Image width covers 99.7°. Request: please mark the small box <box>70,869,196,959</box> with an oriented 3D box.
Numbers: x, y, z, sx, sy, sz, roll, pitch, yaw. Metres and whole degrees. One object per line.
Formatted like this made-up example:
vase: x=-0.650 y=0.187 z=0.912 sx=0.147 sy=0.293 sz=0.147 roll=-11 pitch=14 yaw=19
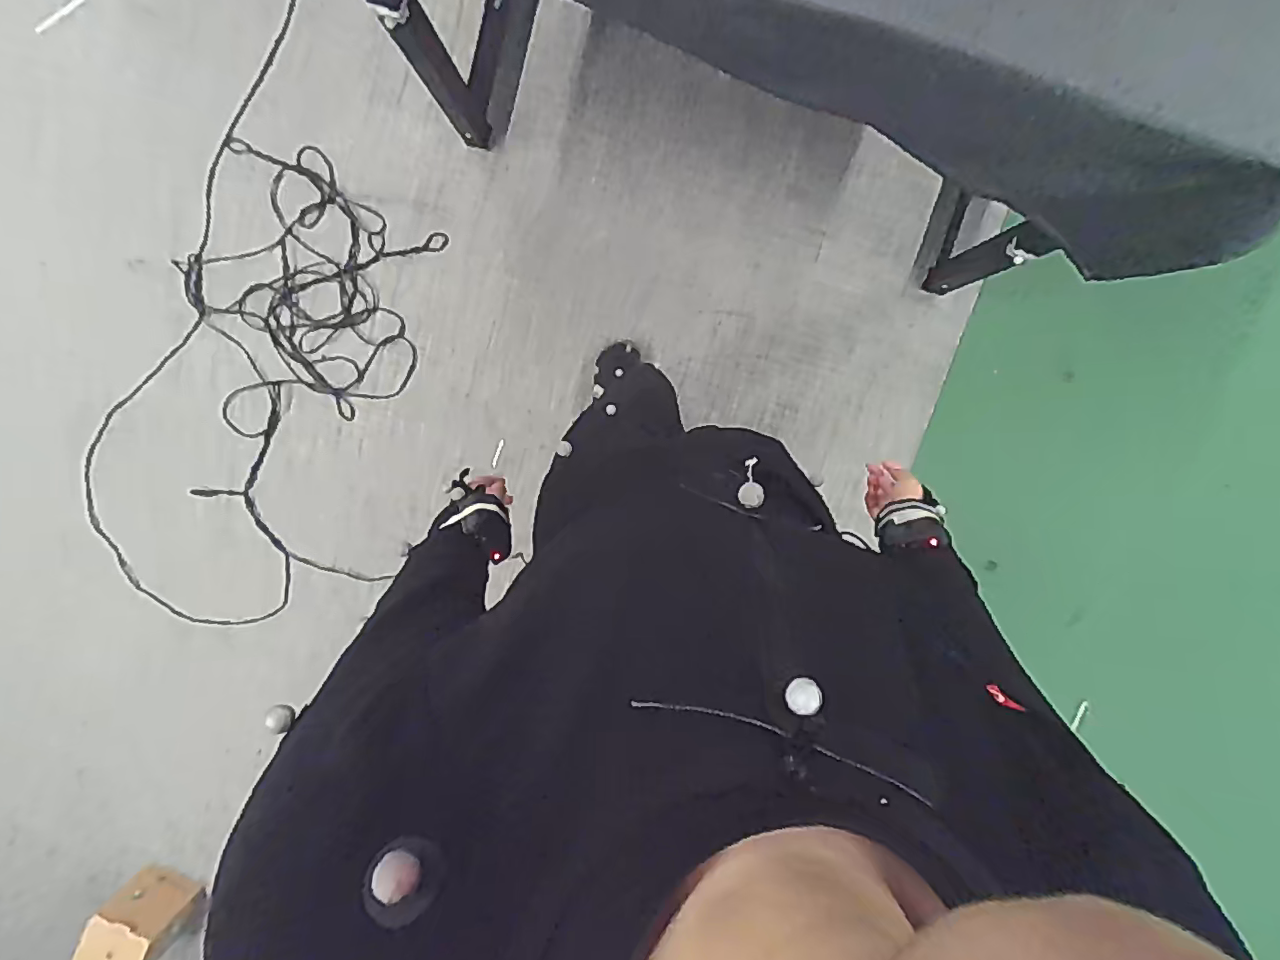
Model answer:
small box: x=-1.346 y=1.199 z=1.443 sx=0.168 sy=0.176 sz=0.179 roll=27 pitch=98 yaw=-1
